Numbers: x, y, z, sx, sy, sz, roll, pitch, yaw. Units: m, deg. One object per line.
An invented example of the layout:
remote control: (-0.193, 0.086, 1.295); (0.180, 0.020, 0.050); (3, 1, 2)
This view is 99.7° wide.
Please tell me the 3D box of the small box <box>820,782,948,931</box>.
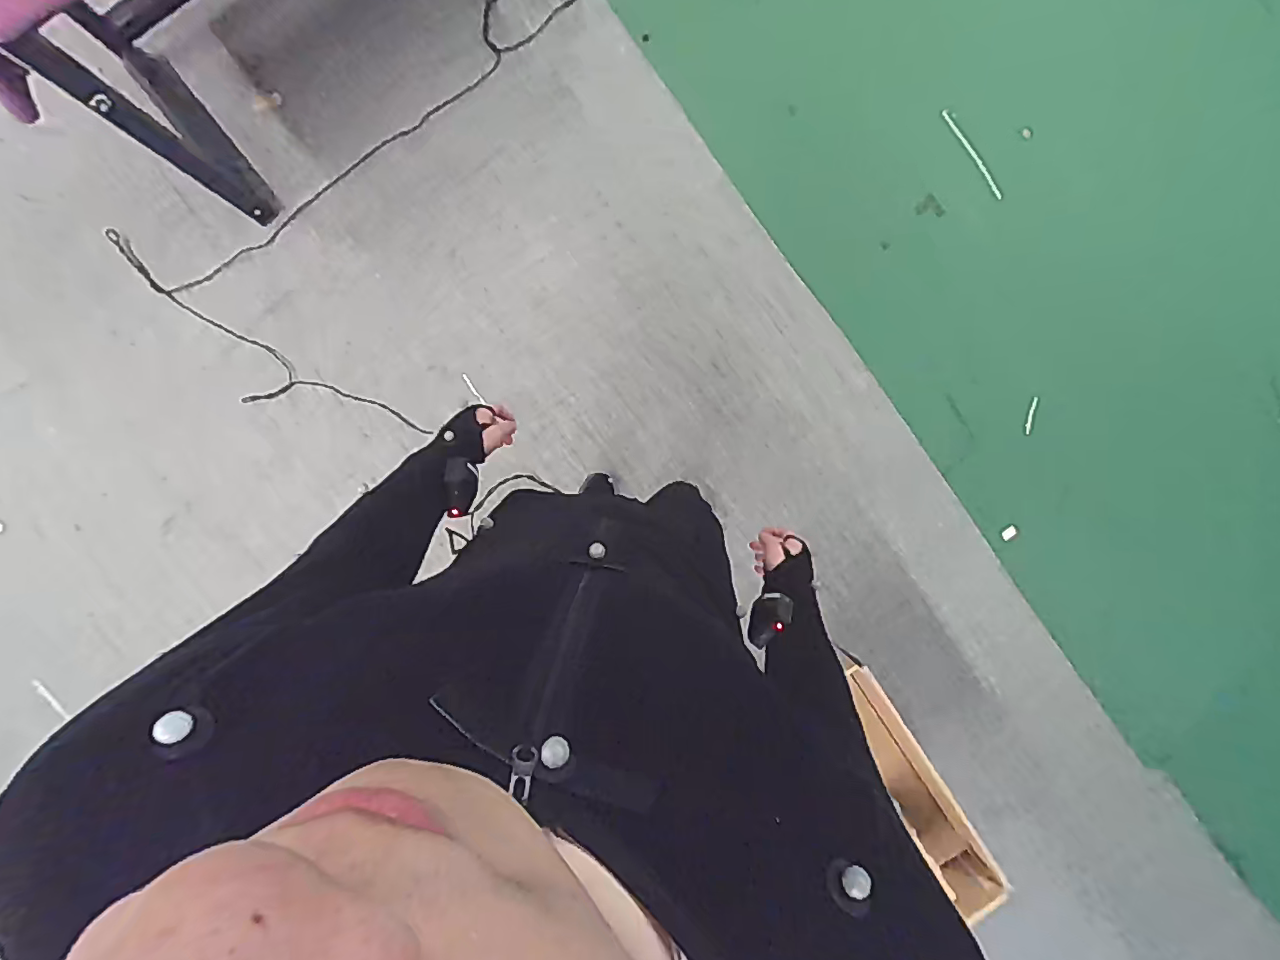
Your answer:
small box: (0.526, 0.826, 1.204); (0.179, 0.176, 0.168); (-34, 94, -2)
